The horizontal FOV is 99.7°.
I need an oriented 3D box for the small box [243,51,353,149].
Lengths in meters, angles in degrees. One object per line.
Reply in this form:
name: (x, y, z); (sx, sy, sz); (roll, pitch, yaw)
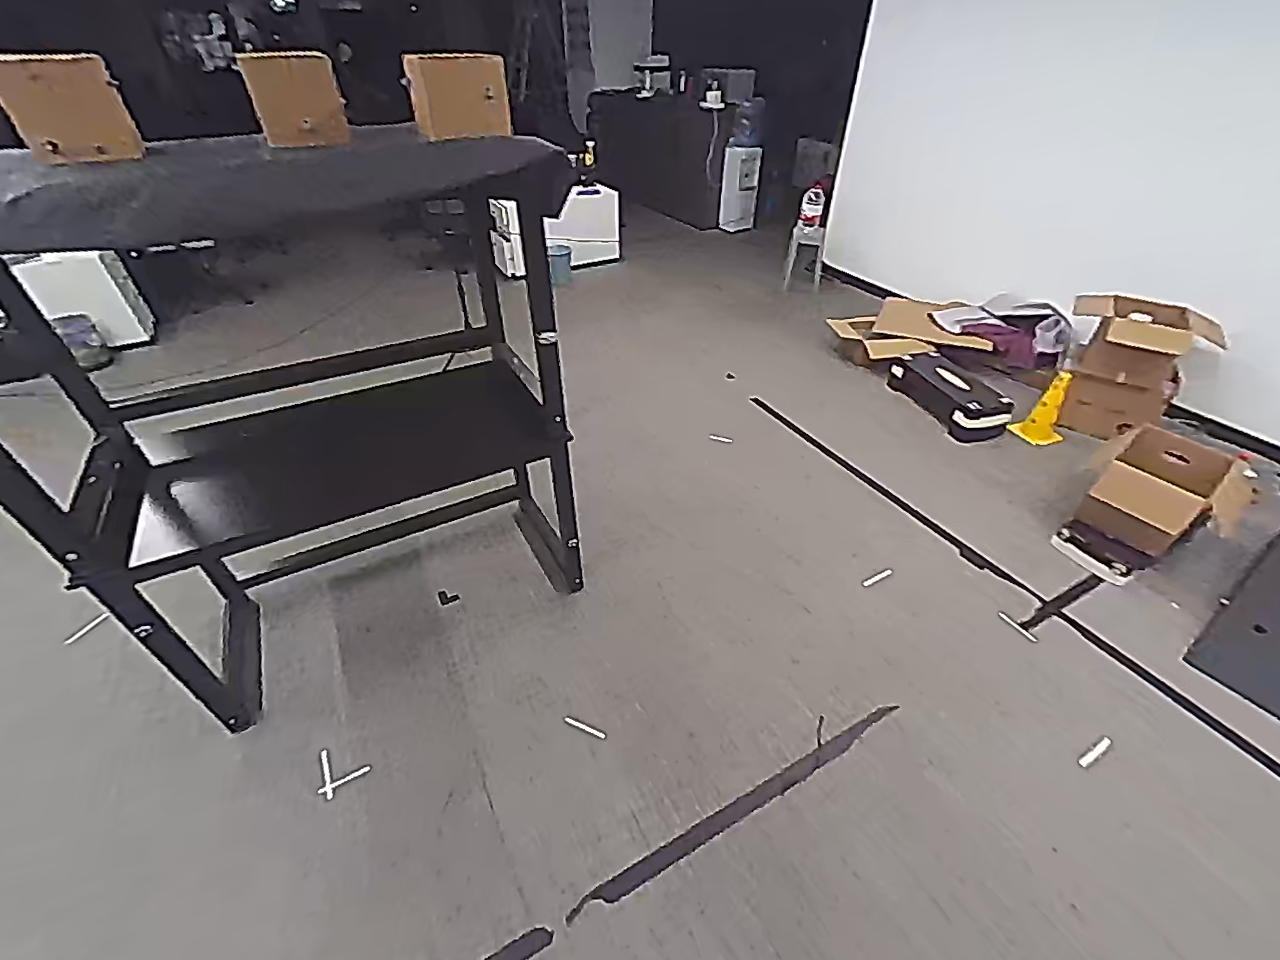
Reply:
small box: (-0.787, -0.884, 1.257); (0.179, 0.176, 0.168); (-19, 43, -23)

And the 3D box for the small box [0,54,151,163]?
small box: (-1.137, -0.752, 1.095); (0.168, 0.176, 0.179); (-22, 44, -25)
